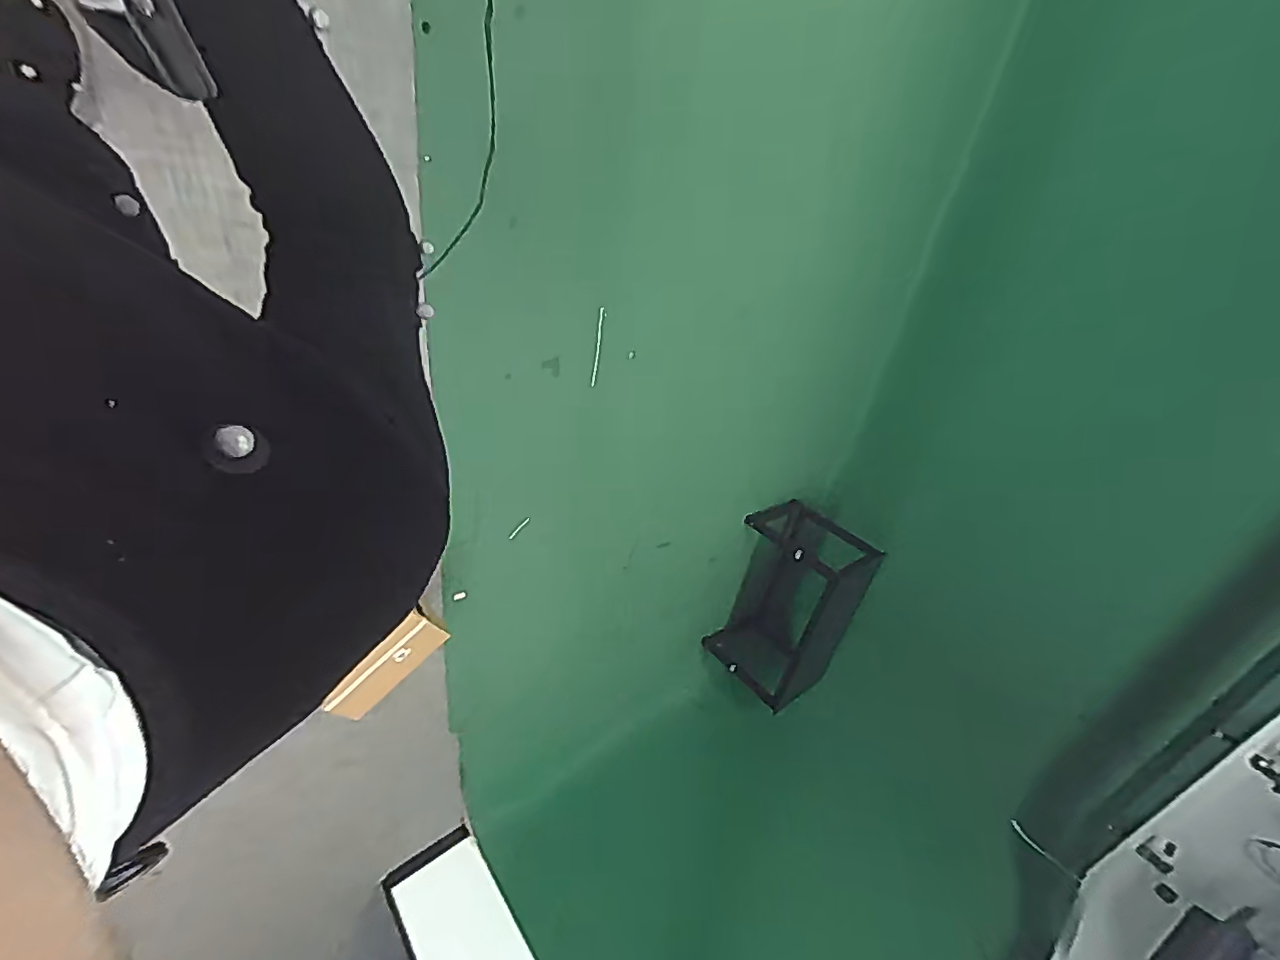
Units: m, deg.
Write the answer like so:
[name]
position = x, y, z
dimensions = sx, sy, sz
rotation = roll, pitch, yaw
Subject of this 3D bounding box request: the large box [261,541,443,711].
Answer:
[large box]
position = -0.974, 0.495, 1.845
dimensions = 0.408, 0.320, 0.320
rotation = -43, 143, -13
